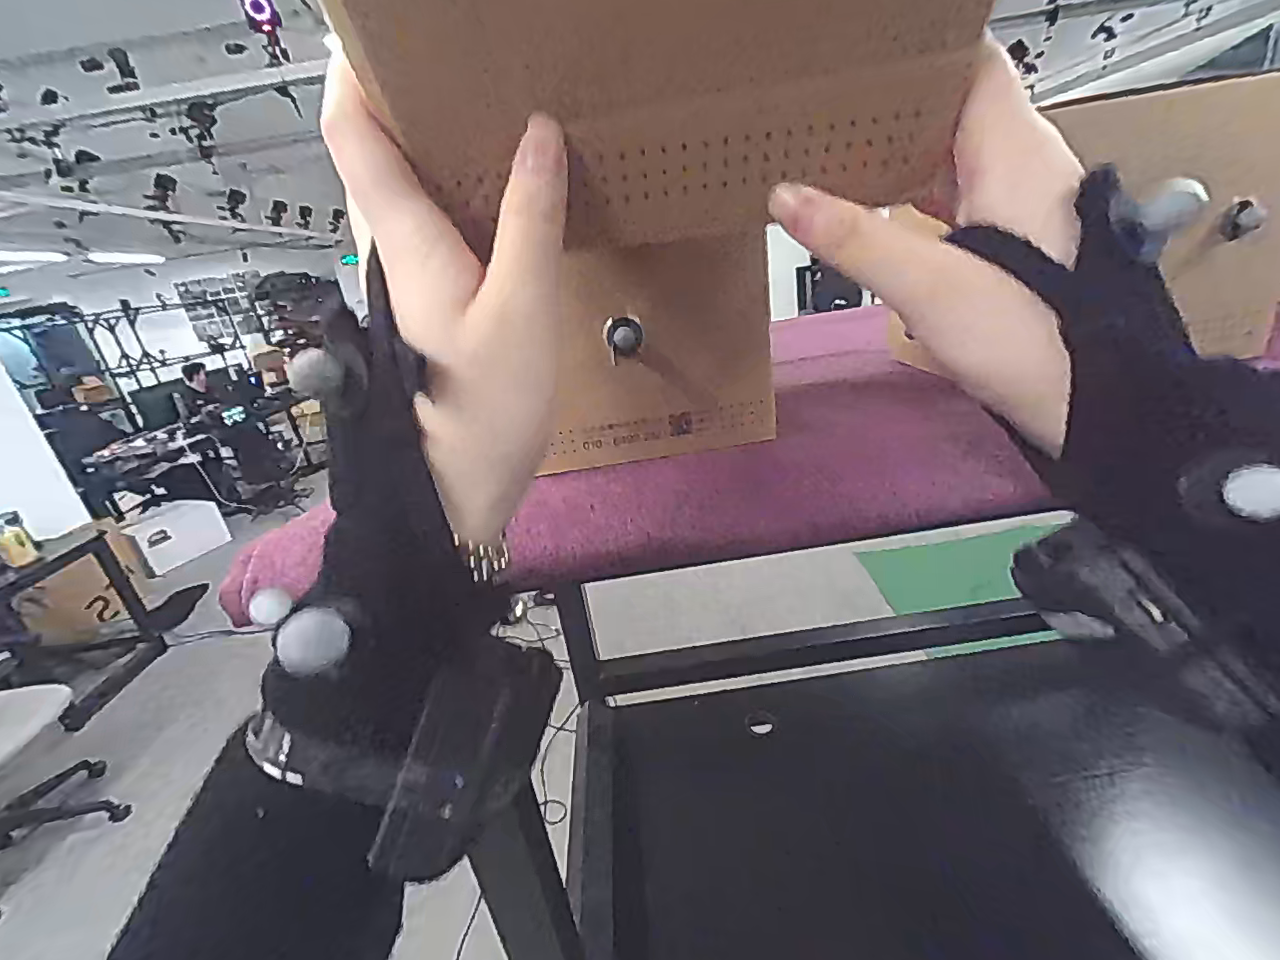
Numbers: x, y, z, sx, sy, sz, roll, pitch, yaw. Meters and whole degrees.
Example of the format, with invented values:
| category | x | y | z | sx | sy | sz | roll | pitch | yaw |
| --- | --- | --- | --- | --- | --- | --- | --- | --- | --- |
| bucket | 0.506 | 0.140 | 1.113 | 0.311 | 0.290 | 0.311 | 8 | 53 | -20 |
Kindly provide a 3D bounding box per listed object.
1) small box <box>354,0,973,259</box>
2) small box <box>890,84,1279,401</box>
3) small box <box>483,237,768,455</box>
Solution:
| category | x | y | z | sx | sy | sz | roll | pitch | yaw |
| --- | --- | --- | --- | --- | --- | --- | --- | --- | --- |
| small box | 0.003 | -0.194 | 0.178 | 0.179 | 0.176 | 0.168 | -6 | 56 | 1 |
| small box | 0.312 | -0.168 | 0.413 | 0.179 | 0.176 | 0.168 | -10 | 20 | -1 |
| small box | -0.007 | -0.122 | 0.404 | 0.168 | 0.176 | 0.179 | -8 | 21 | -1 |
